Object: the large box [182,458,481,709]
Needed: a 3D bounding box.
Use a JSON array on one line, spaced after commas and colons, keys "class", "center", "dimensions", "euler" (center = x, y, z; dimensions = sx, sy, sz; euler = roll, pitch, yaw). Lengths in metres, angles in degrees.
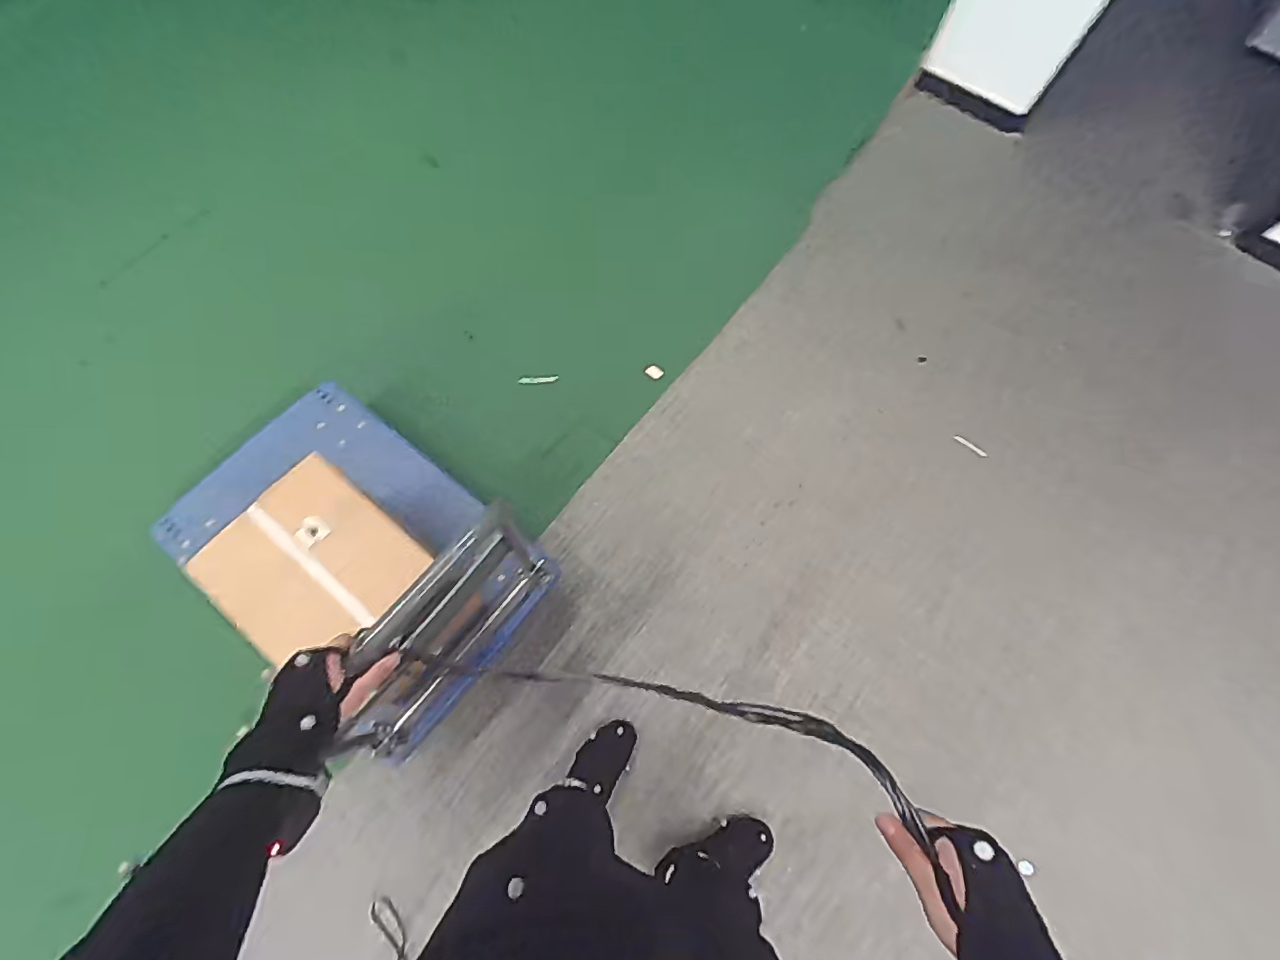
[{"class": "large box", "center": [-0.623, 0.231, 1.166], "dimensions": [0.408, 0.320, 0.320], "euler": [38, 72, 12]}]
